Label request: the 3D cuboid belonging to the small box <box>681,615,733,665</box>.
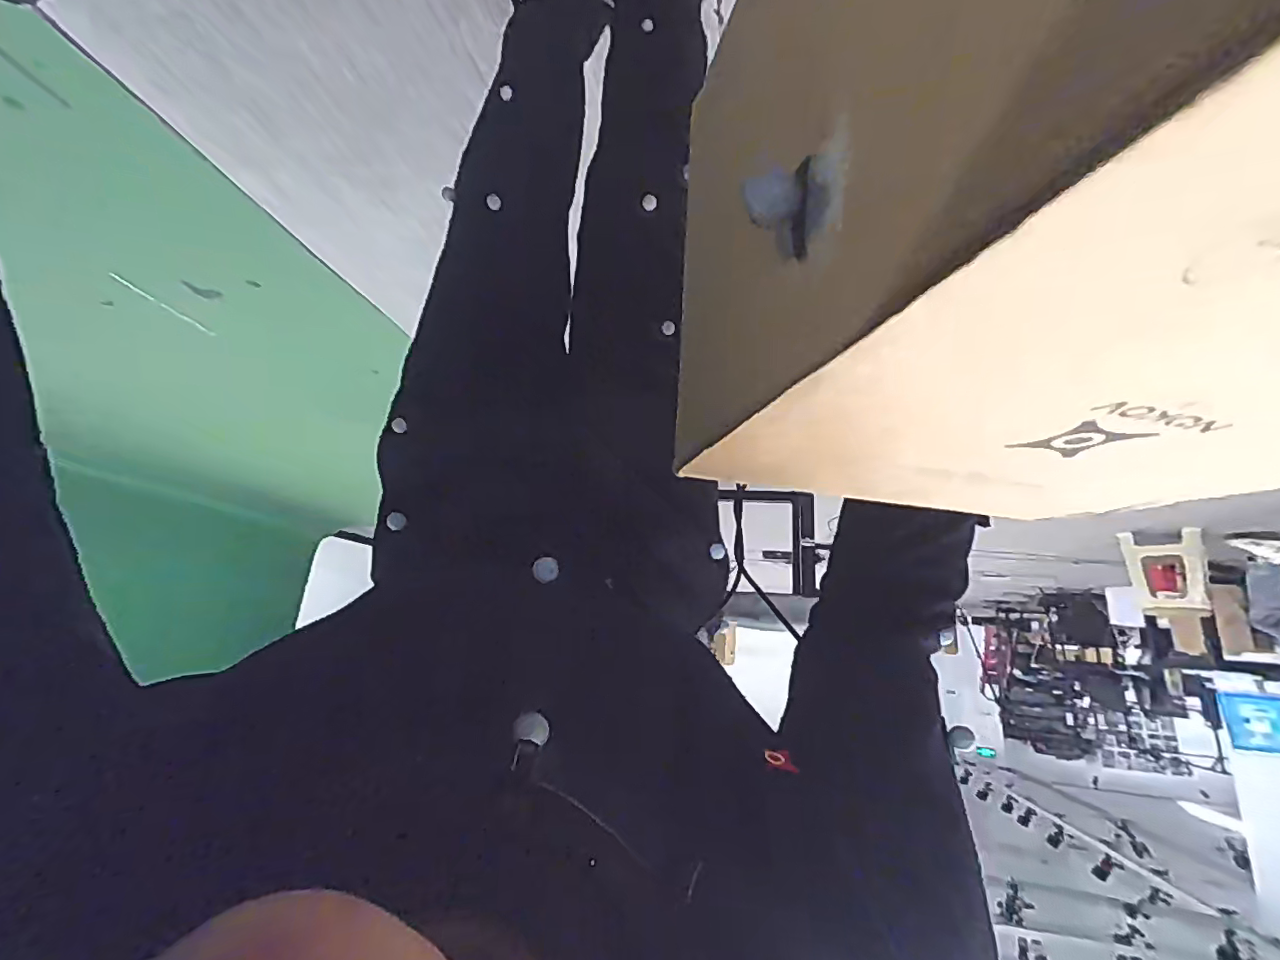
[{"bbox_3d":[0.268,0.623,2.112,0.168,0.176,0.179,-2,162,21],"label":"small box"}]
